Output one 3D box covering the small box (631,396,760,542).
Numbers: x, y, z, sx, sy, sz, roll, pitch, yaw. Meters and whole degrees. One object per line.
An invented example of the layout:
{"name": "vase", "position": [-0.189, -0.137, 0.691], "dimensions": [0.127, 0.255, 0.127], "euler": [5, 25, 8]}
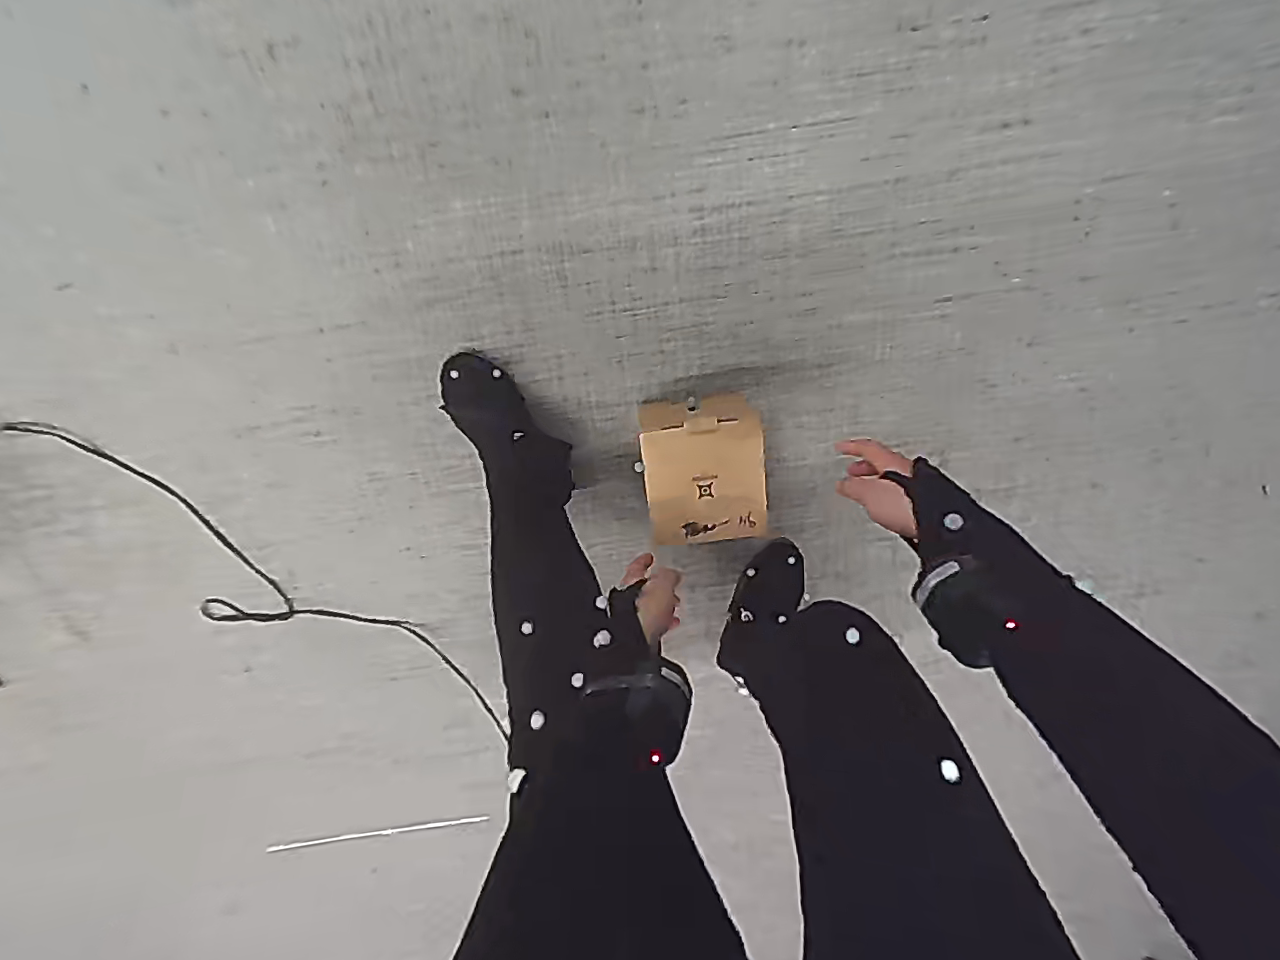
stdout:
{"name": "small box", "position": [0.078, -0.026, 0.818], "dimensions": [0.168, 0.176, 0.179], "euler": [-7, 109, 1]}
